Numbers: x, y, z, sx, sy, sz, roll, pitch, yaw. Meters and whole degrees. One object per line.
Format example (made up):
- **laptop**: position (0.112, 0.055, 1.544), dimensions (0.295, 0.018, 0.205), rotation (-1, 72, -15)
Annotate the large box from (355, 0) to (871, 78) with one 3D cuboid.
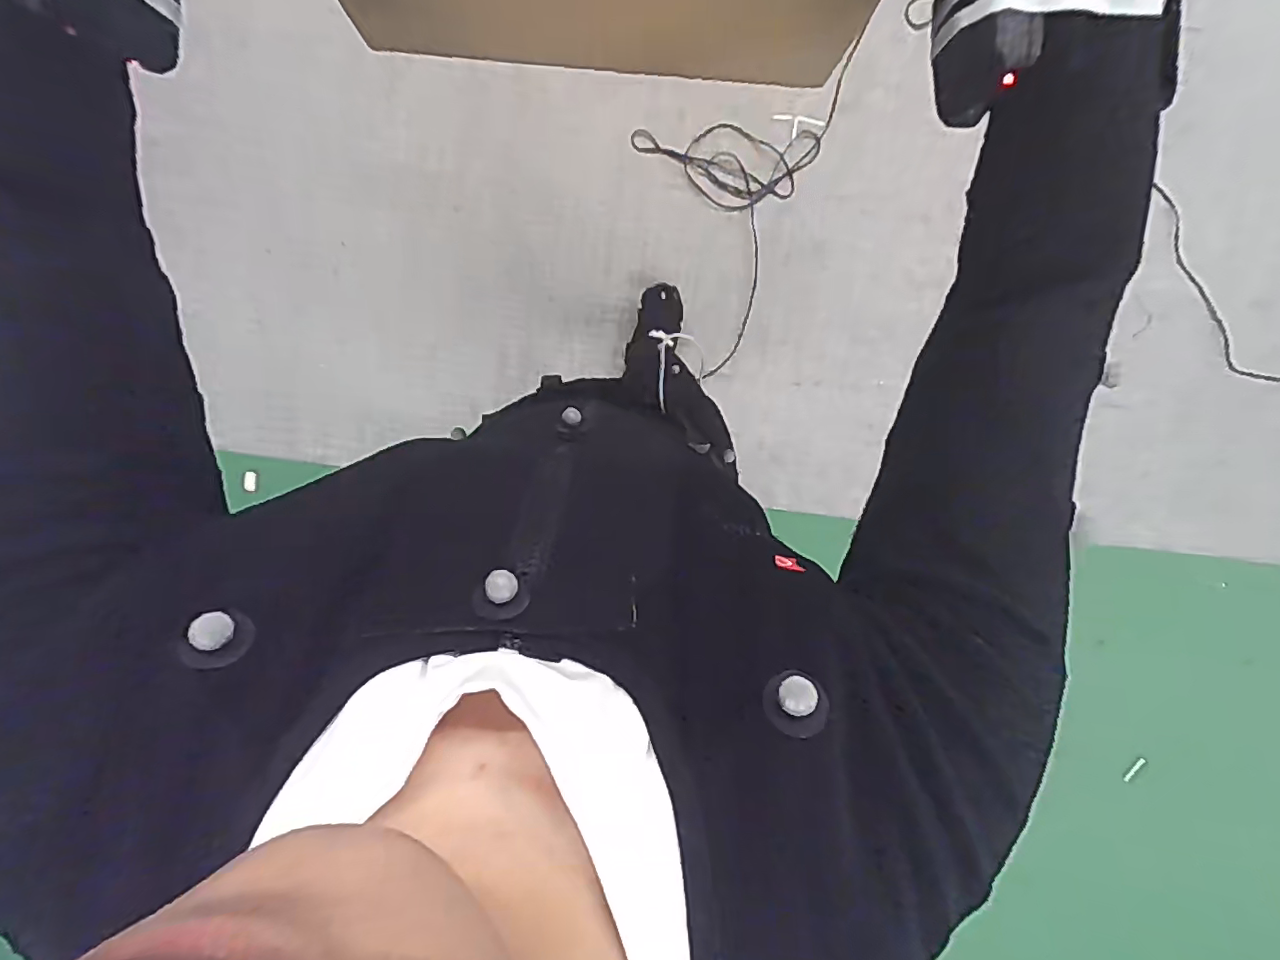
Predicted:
- **large box**: position (-0.015, -0.501, 0.319), dimensions (0.408, 0.320, 0.320), rotation (1, 98, -5)
